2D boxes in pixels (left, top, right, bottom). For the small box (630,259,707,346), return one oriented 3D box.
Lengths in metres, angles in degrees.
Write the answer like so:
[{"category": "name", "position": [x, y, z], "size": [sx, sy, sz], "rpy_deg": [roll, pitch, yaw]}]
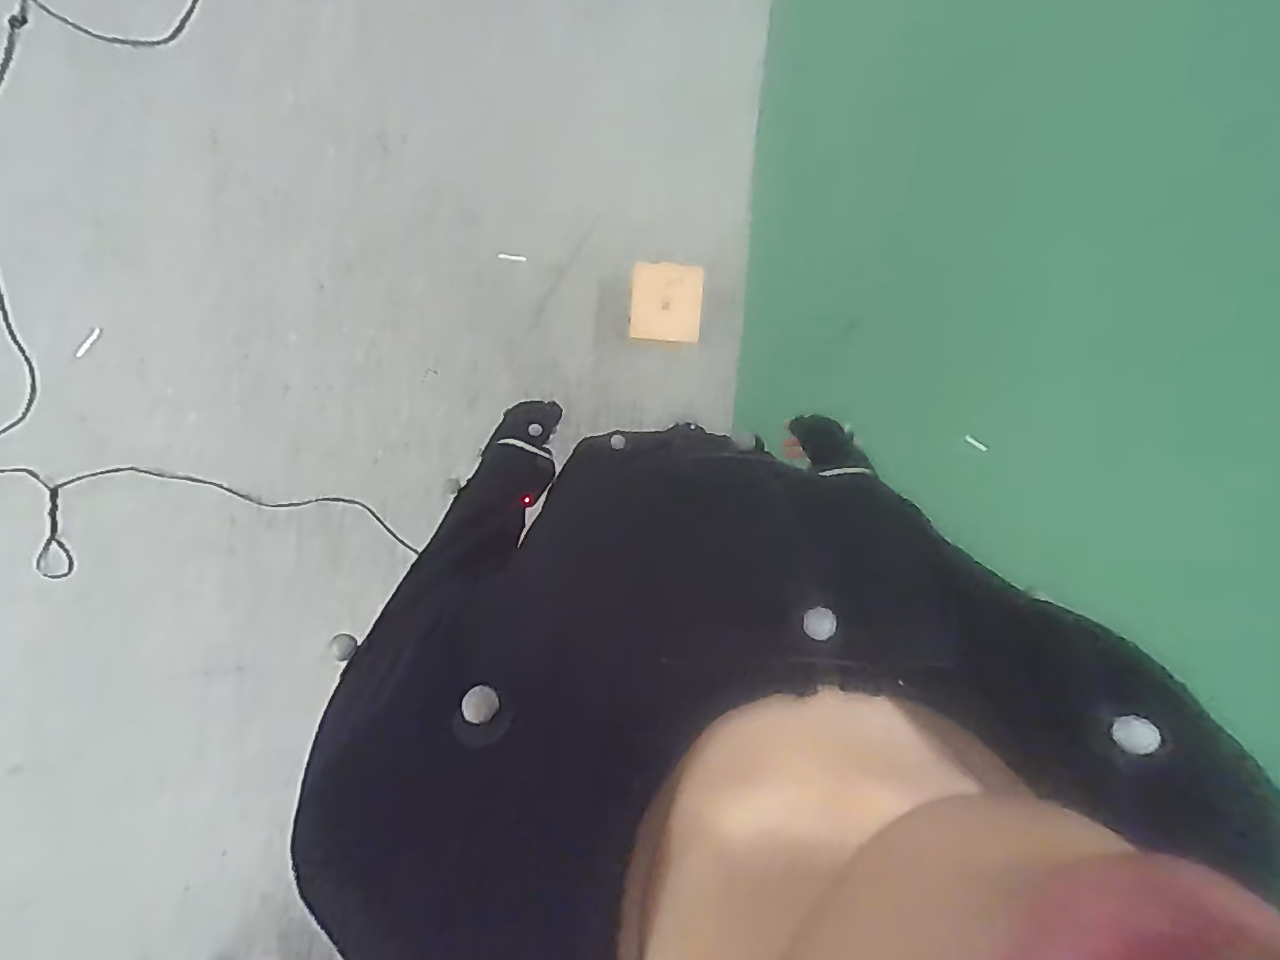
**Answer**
[{"category": "small box", "position": [0.063, -0.429, 1.335], "size": [0.168, 0.176, 0.179], "rpy_deg": [4, 98, -4]}]
